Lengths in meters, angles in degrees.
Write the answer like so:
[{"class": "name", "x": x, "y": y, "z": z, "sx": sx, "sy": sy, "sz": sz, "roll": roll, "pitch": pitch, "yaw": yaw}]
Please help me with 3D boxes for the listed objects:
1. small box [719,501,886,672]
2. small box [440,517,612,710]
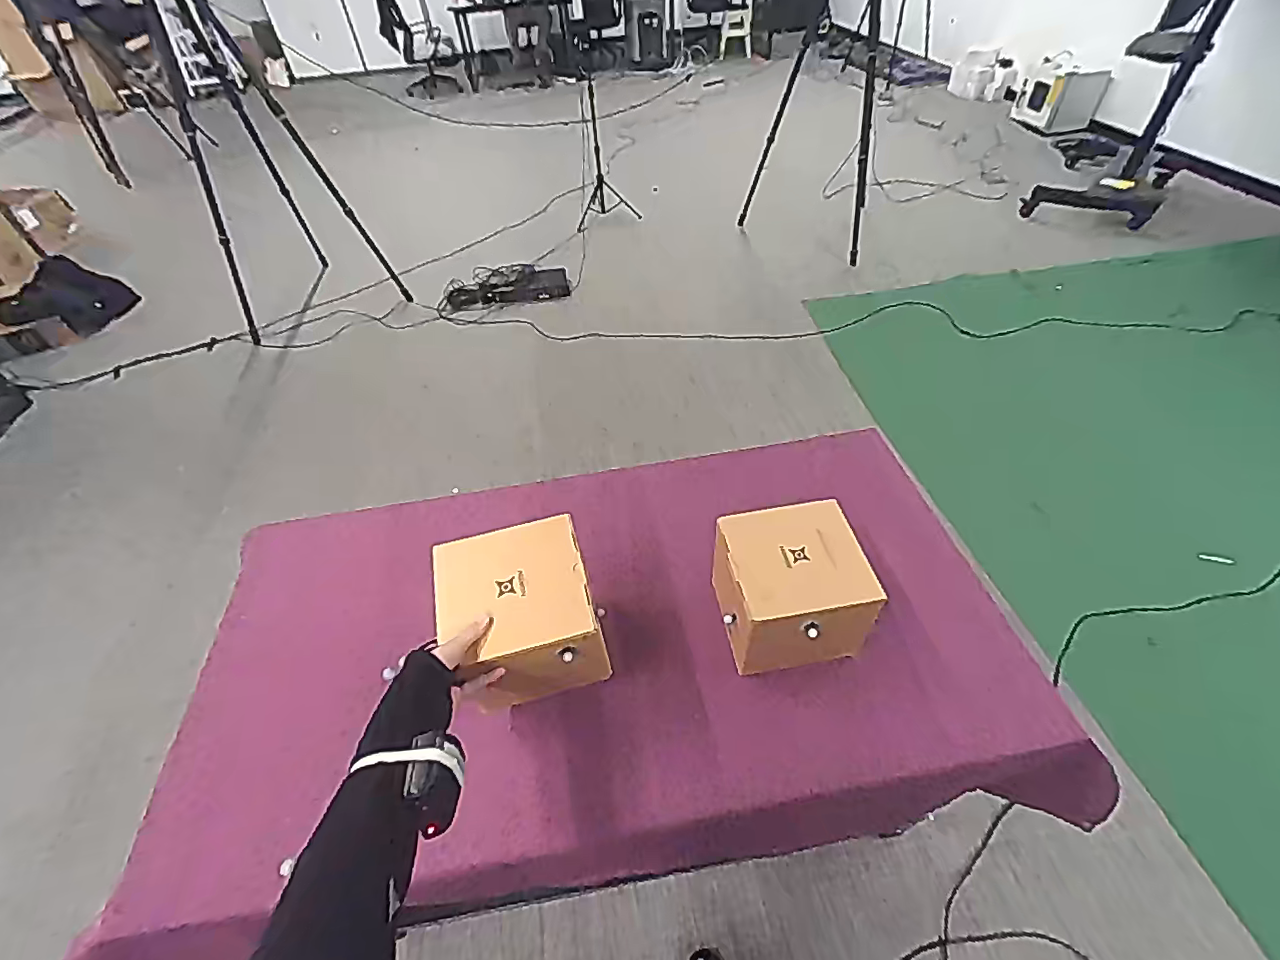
[{"class": "small box", "x": 0.214, "y": 0.155, "z": 0.772, "sx": 0.179, "sy": 0.176, "sz": 0.168, "roll": -9, "pitch": 48, "yaw": -3}, {"class": "small box", "x": -0.144, "y": 0.178, "z": 0.704, "sx": 0.179, "sy": 0.176, "sz": 0.168, "roll": -14, "pitch": 53, "yaw": -8}]
